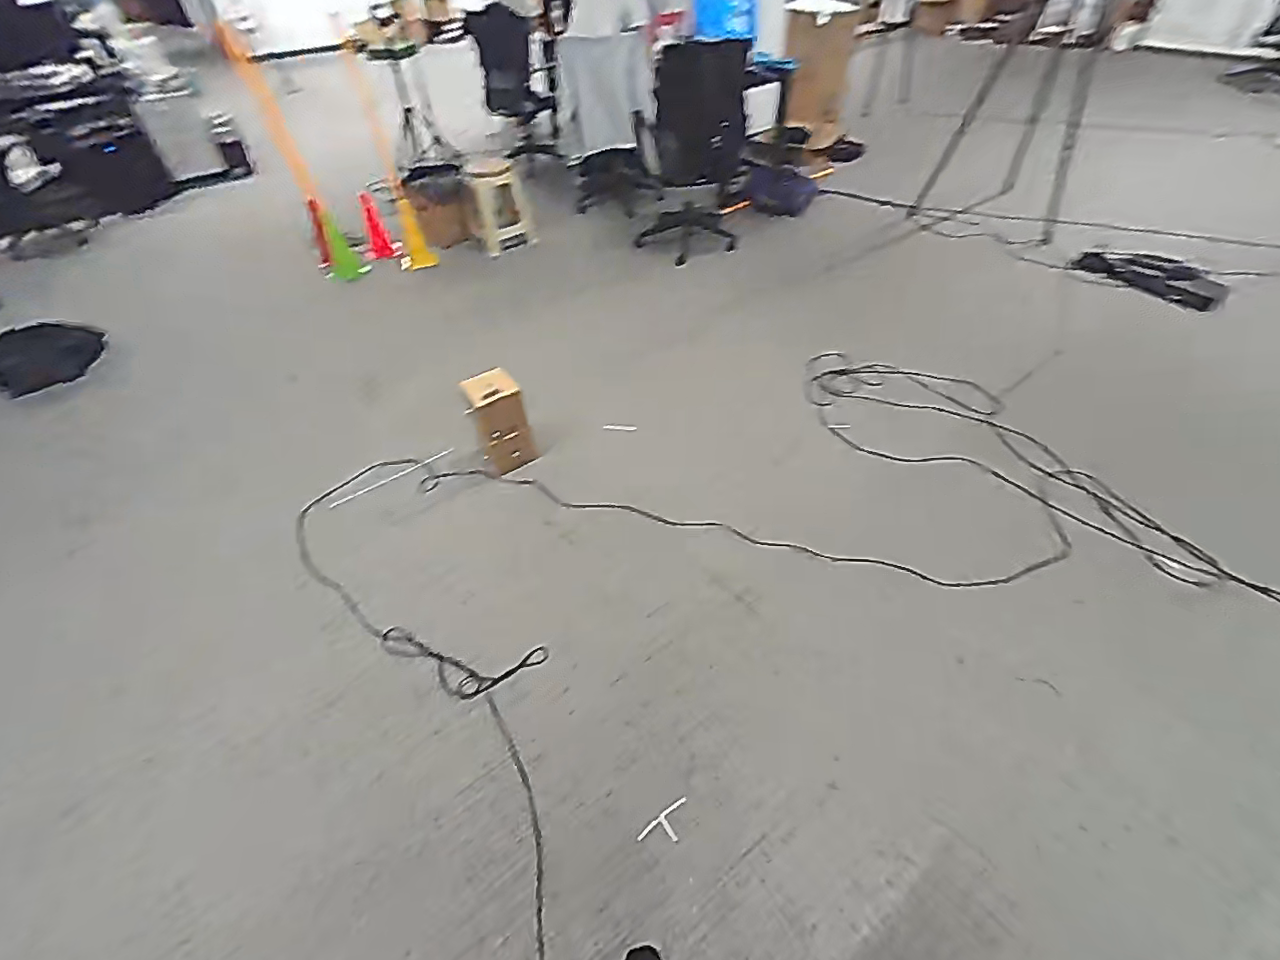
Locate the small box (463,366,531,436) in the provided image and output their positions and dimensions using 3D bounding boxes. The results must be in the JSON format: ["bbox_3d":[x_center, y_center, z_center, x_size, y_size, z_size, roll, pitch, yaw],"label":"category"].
[{"bbox_3d":[-0.516,-0.280,1.972,0.168,0.176,0.179,-27,51,-20],"label":"small box"}]

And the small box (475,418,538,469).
[{"bbox_3d":[-0.510,-0.162,2.090,0.168,0.176,0.179,-28,53,-25],"label":"small box"}]
